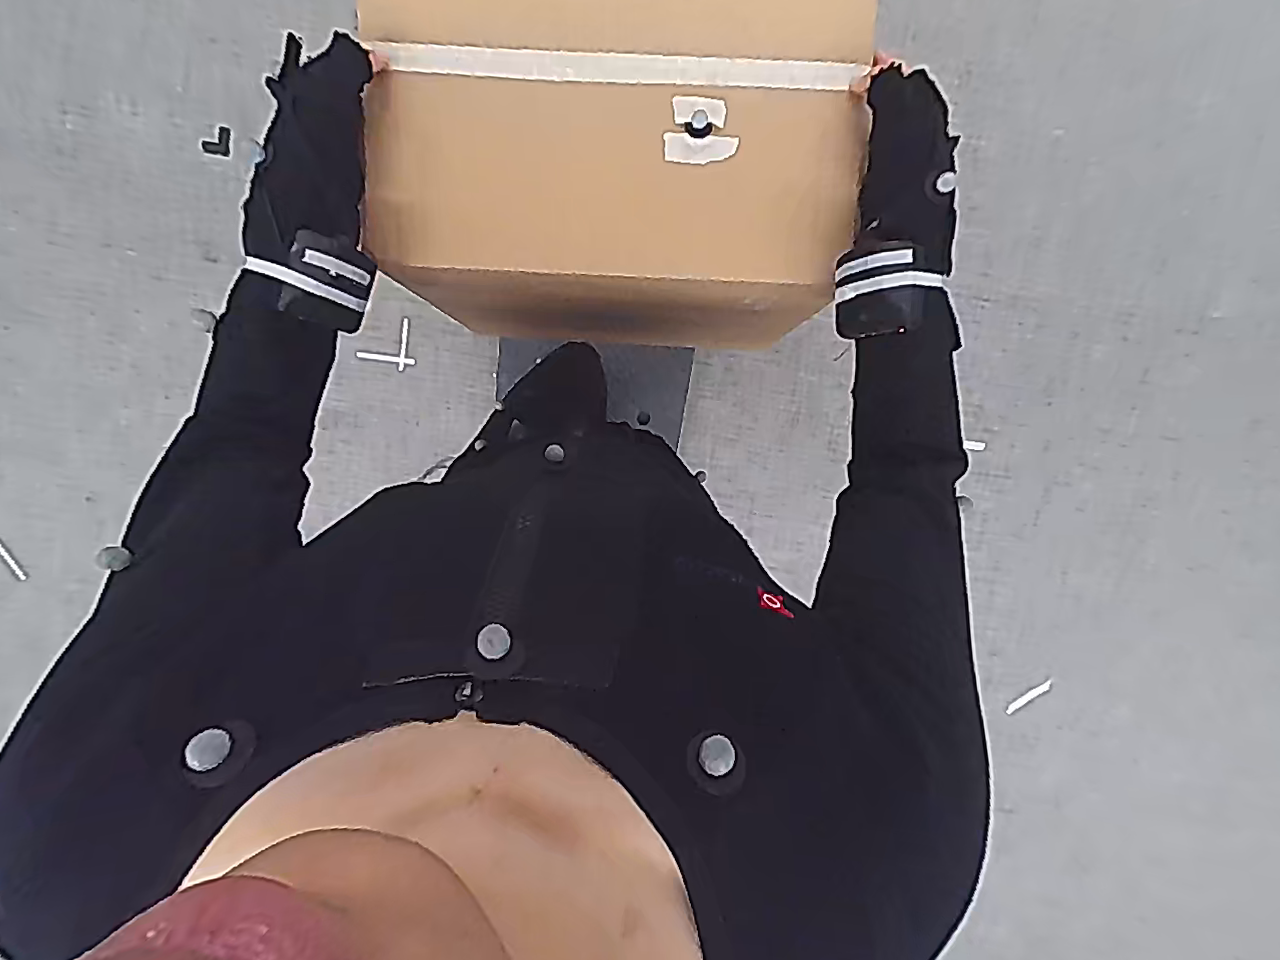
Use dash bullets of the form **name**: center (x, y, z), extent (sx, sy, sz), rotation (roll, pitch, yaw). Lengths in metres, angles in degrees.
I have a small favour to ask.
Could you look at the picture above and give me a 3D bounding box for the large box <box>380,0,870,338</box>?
- **large box**: center (-0.016, -0.344, 0.591), extent (0.408, 0.320, 0.320), rotation (2, 94, -1)
